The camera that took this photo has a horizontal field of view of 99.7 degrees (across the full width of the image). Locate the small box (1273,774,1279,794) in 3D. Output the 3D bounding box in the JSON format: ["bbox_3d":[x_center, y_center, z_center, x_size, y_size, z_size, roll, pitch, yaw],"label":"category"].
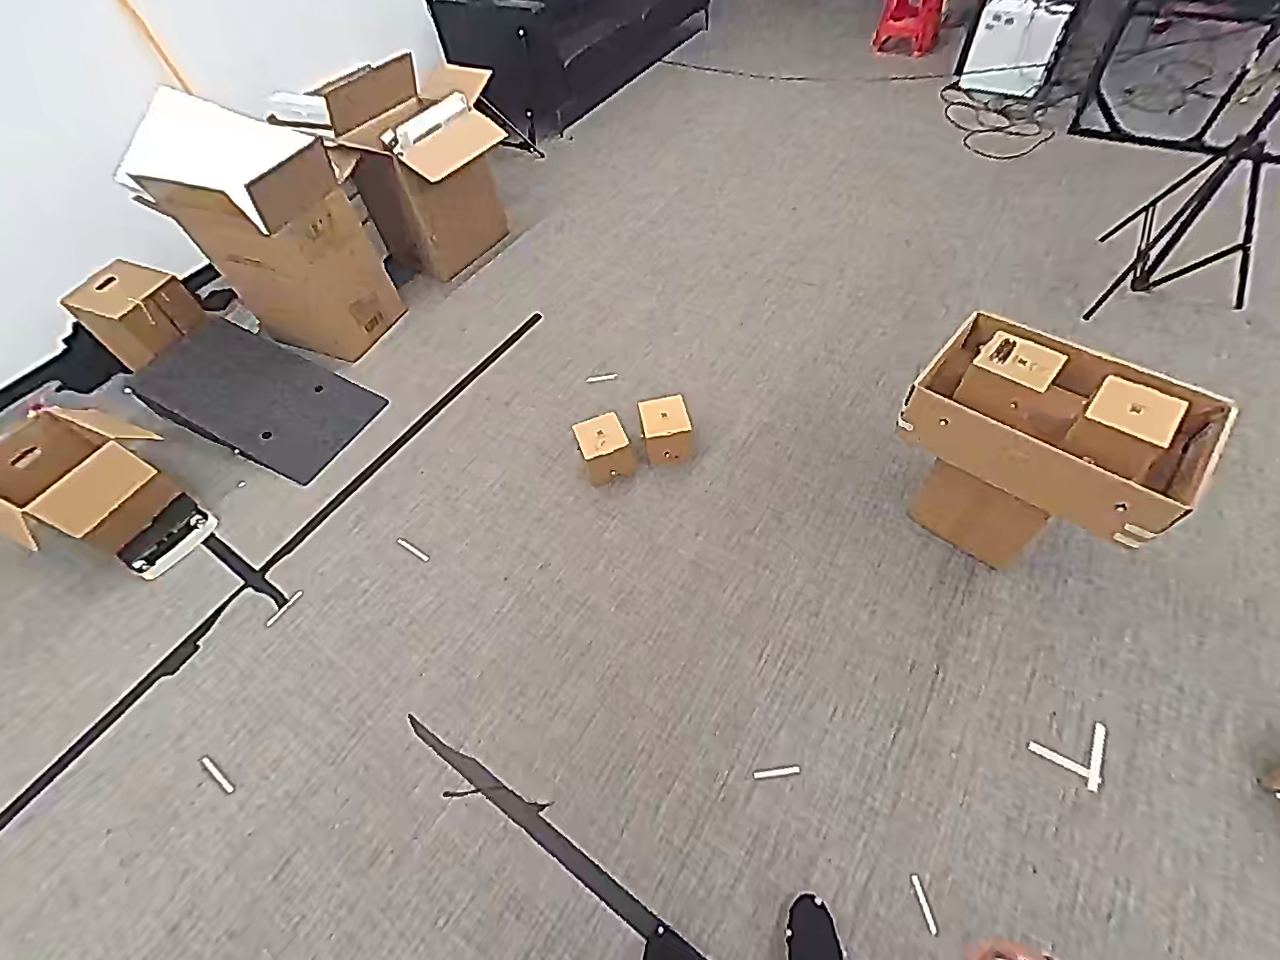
[{"bbox_3d":[1.587,0.702,1.190,0.179,0.176,0.168,-24,55,-11],"label":"small box"}]

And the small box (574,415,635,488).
[{"bbox_3d":[-0.129,-0.101,1.980,0.168,0.176,0.179,-20,55,-7],"label":"small box"}]

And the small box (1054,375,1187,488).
[{"bbox_3d":[1.156,-0.116,1.313,0.168,0.176,0.179,34,61,28],"label":"small box"}]

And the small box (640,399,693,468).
[{"bbox_3d":[0.097,-0.171,2.006,0.168,0.176,0.179,-12,55,-2],"label":"small box"}]
